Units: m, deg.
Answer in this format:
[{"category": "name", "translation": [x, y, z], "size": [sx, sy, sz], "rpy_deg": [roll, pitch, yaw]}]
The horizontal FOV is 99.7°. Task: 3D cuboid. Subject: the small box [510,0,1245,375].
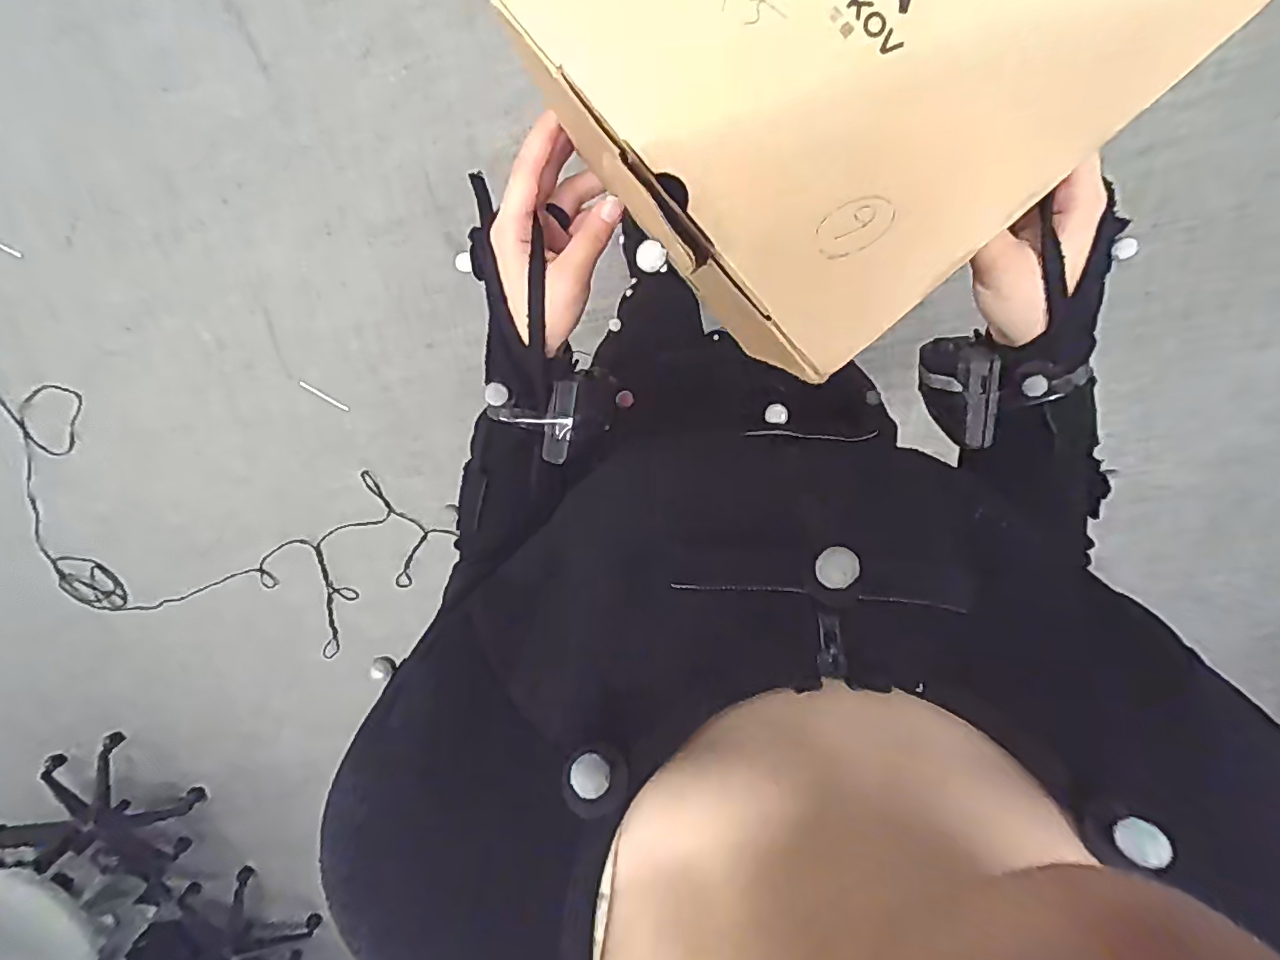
[{"category": "small box", "translation": [0.077, -0.172, 0.251], "size": [0.179, 0.176, 0.168], "rpy_deg": [-42, 100, 14]}]
